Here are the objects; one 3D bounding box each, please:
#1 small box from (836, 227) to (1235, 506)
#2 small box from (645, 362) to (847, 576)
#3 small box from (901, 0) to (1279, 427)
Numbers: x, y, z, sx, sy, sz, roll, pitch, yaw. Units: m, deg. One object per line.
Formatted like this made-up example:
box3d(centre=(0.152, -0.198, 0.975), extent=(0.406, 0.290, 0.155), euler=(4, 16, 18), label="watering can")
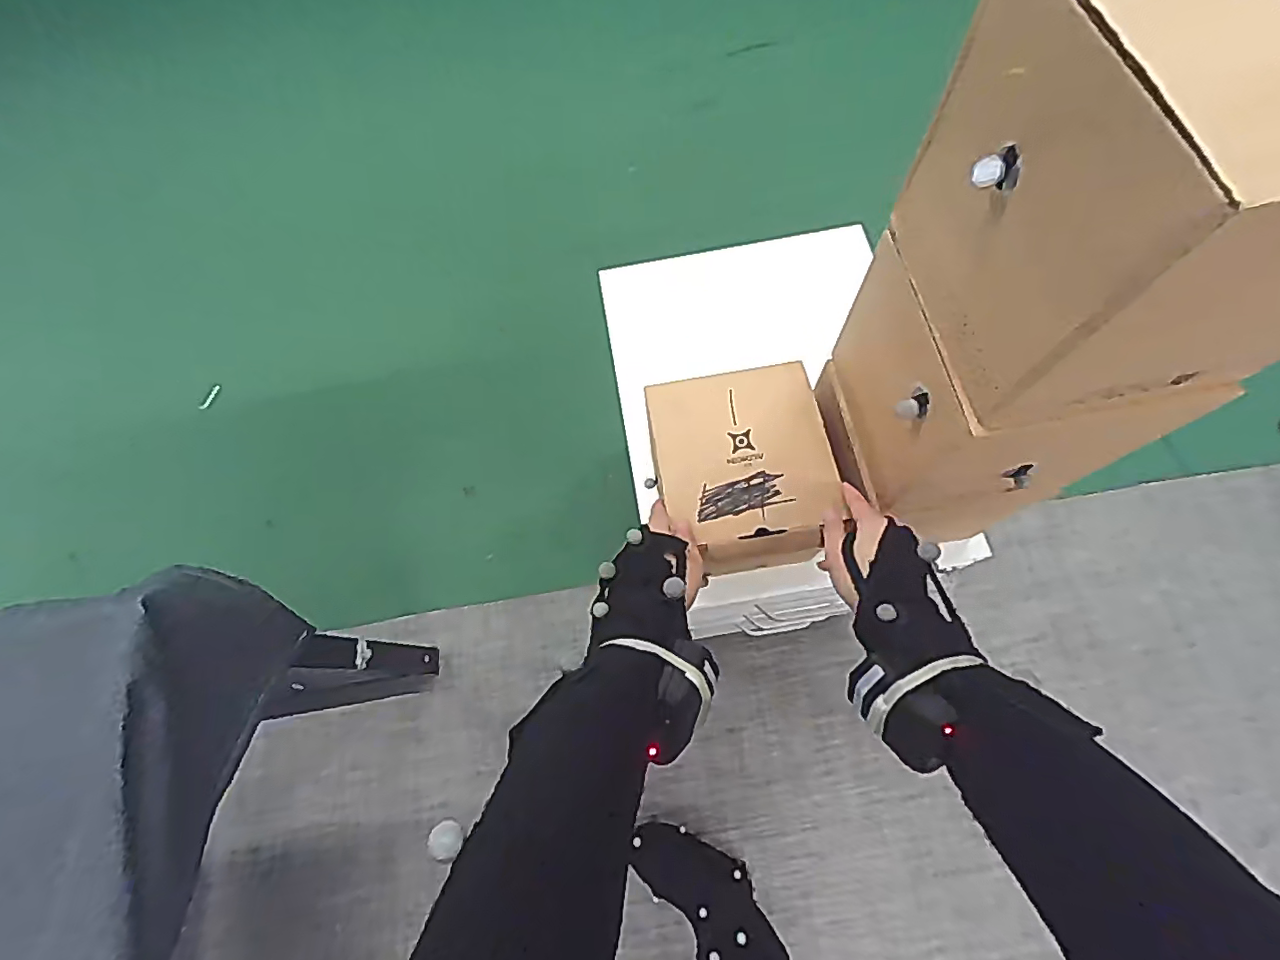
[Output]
box3d(centre=(0.277, -0.086, 0.434), extent=(0.168, 0.176, 0.179), euler=(-8, 69, 1), label="small box")
box3d(centre=(0.101, 0.001, 0.589), extent=(0.168, 0.176, 0.179), euler=(-9, 68, -1), label="small box")
box3d(centre=(0.268, -0.152, 0.284), extent=(0.168, 0.176, 0.179), euler=(-11, 68, 1), label="small box")
